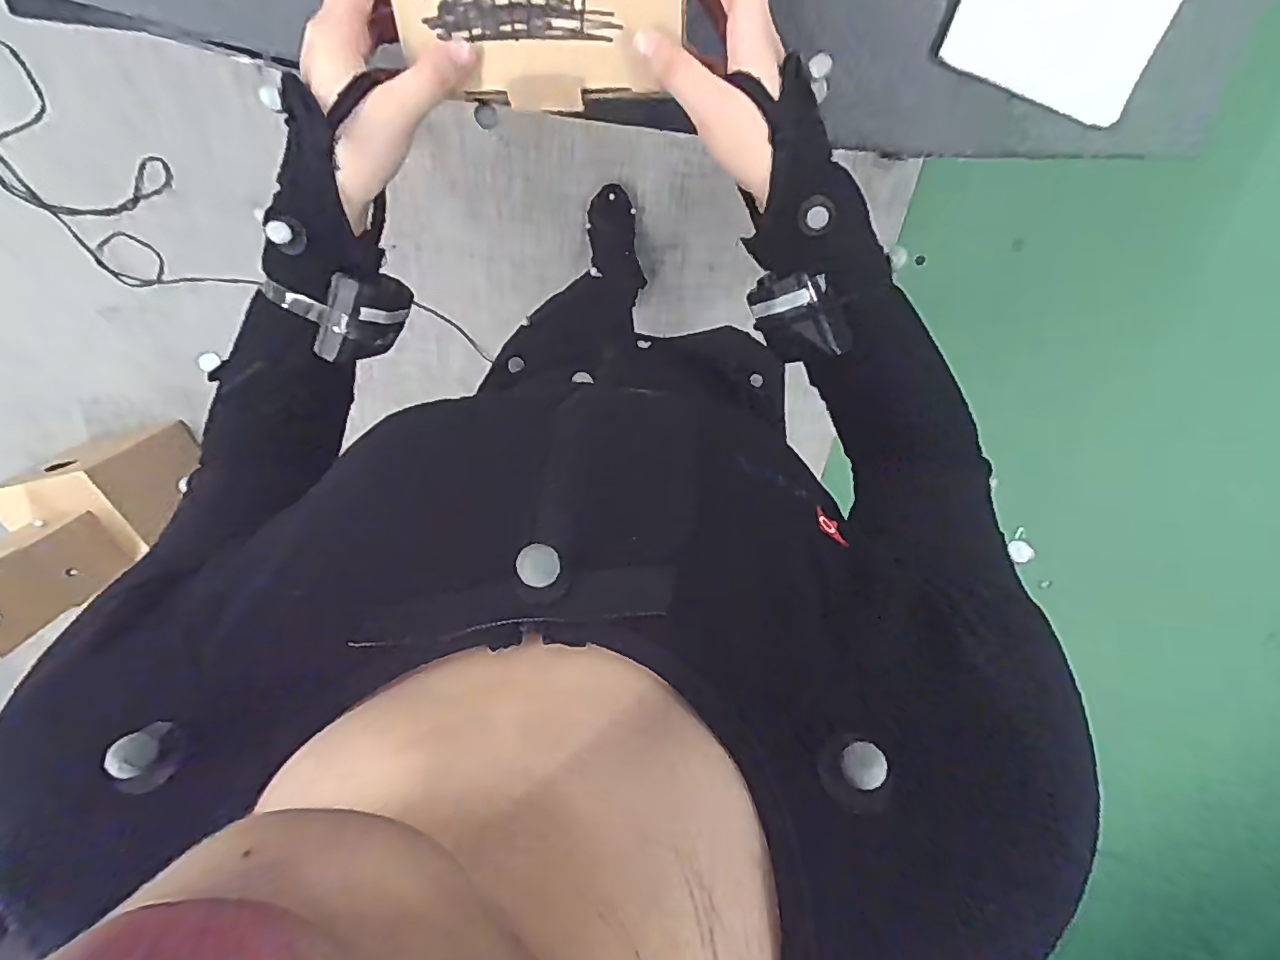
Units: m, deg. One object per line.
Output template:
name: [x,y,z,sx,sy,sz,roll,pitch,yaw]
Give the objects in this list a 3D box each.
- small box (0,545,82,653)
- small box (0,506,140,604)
small box: [-1.389,0.256,1.157,0.168,0.176,0.179,-10,119,5]
small box: [-1.386,0.187,1.305,0.168,0.176,0.179,-11,119,6]
